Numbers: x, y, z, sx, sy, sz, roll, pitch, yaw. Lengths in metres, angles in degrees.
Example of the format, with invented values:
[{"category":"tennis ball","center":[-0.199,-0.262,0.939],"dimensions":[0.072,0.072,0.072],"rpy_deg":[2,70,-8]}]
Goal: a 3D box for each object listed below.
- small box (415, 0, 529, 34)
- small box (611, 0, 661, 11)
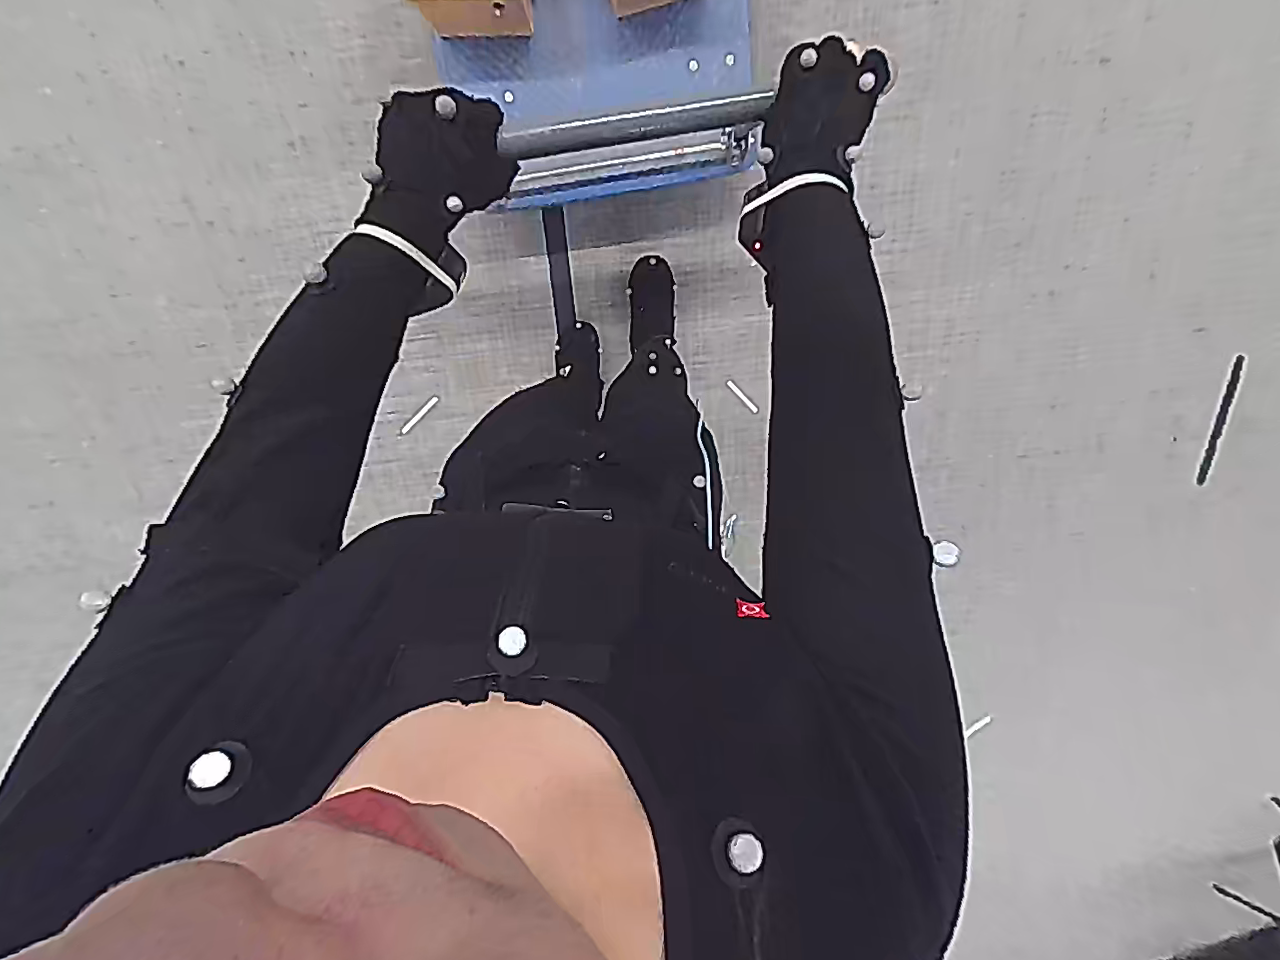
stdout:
[{"category":"small box","center":[-0.281,-0.840,0.860],"dimensions":[0.179,0.176,0.168],"rpy_deg":[-4,114,-3]},{"category":"small box","center":[0.019,-0.890,0.856],"dimensions":[0.179,0.176,0.168],"rpy_deg":[-14,114,3]}]
